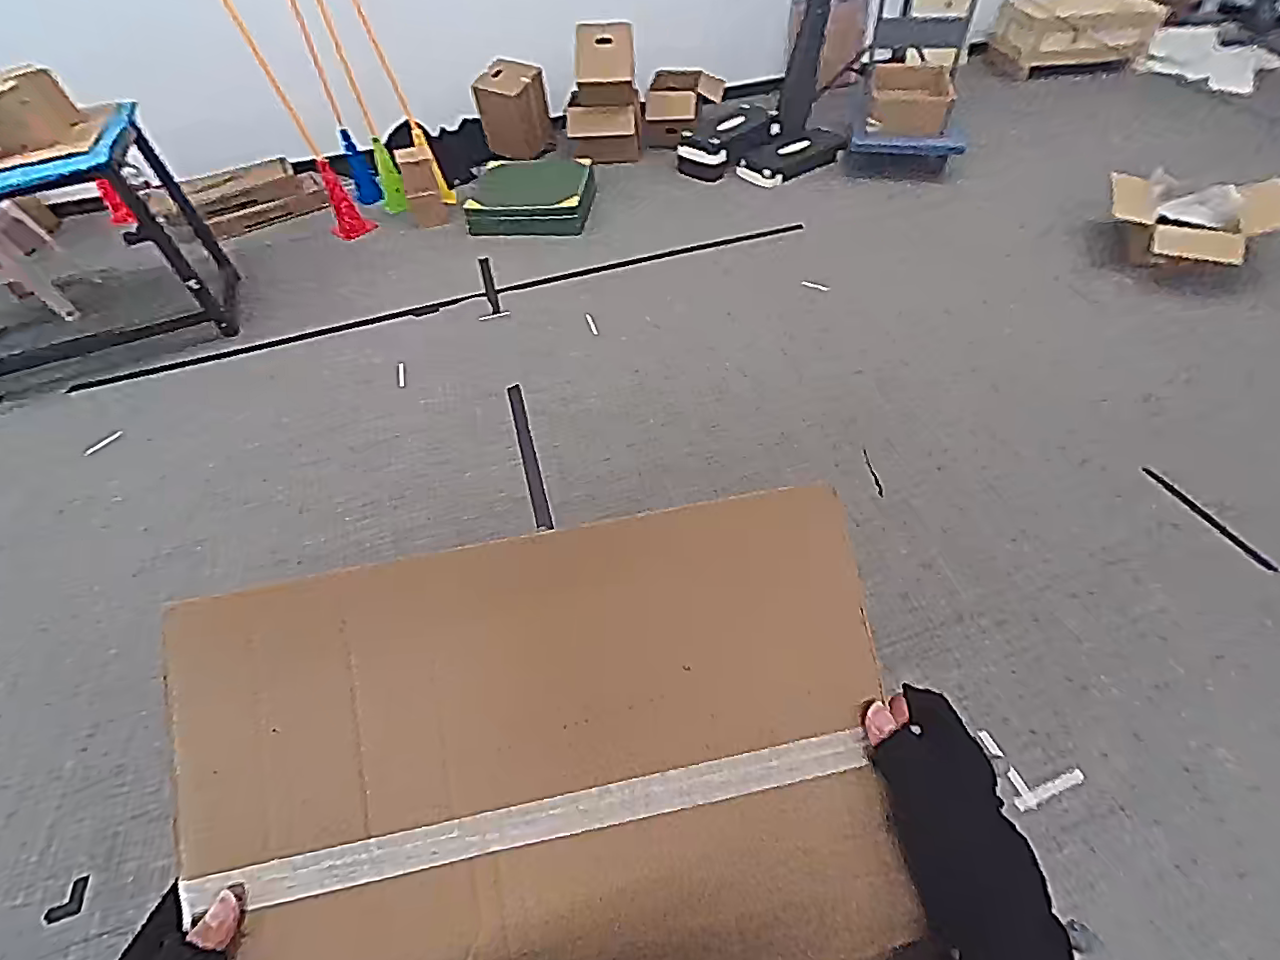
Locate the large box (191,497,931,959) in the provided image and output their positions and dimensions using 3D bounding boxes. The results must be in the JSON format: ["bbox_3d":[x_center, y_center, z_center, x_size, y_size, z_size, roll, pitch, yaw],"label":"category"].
[{"bbox_3d":[-0.053,0.215,0.468,0.408,0.320,0.320,-11,82,-4],"label":"large box"}]
